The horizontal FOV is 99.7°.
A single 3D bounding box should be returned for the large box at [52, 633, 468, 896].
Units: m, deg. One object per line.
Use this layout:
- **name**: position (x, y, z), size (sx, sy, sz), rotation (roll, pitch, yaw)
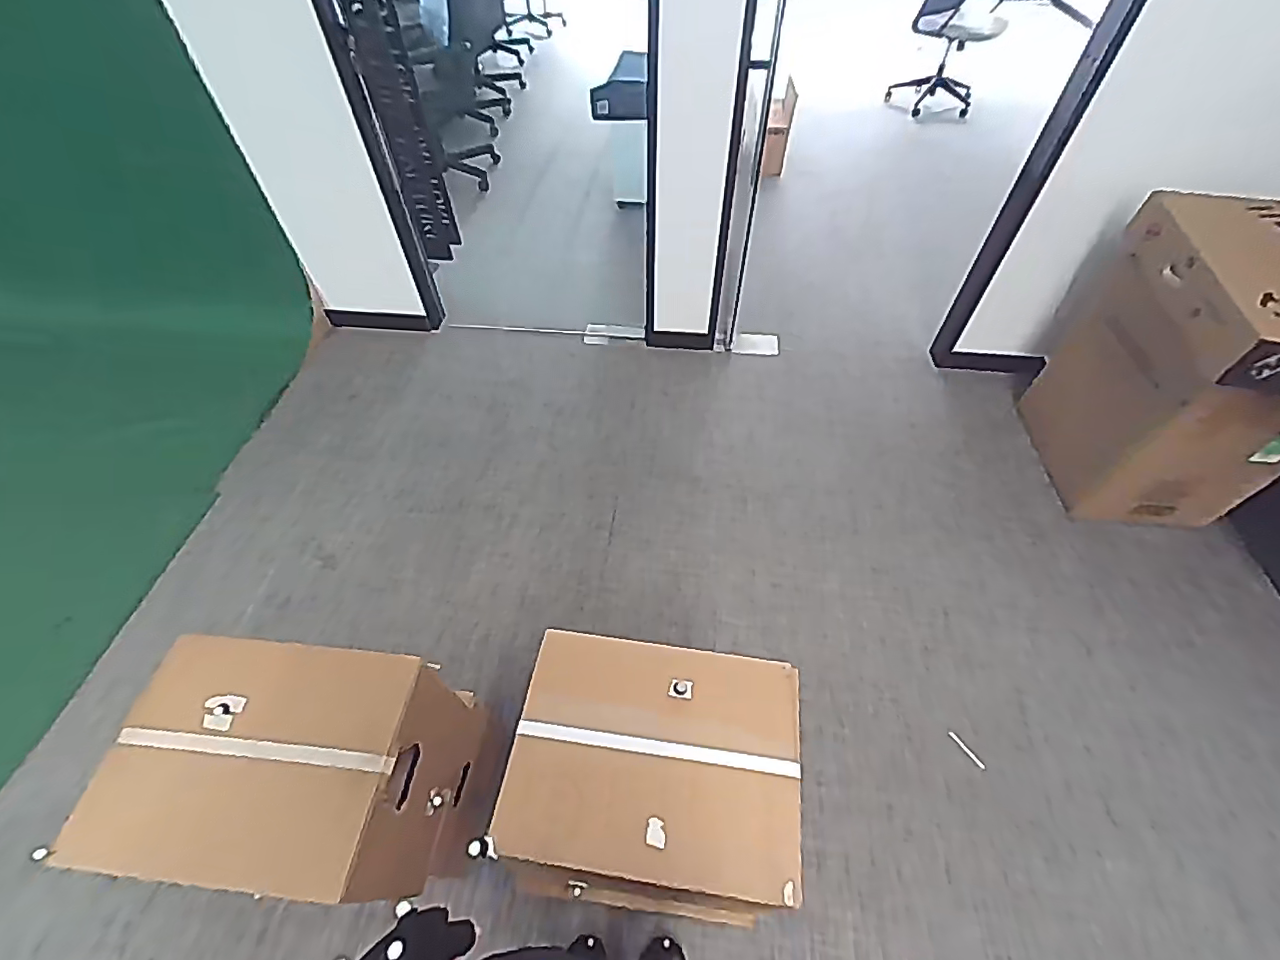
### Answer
- **large box**: position (-0.555, 0.468, 0.898), size (0.408, 0.320, 0.320), rotation (4, 54, 5)
